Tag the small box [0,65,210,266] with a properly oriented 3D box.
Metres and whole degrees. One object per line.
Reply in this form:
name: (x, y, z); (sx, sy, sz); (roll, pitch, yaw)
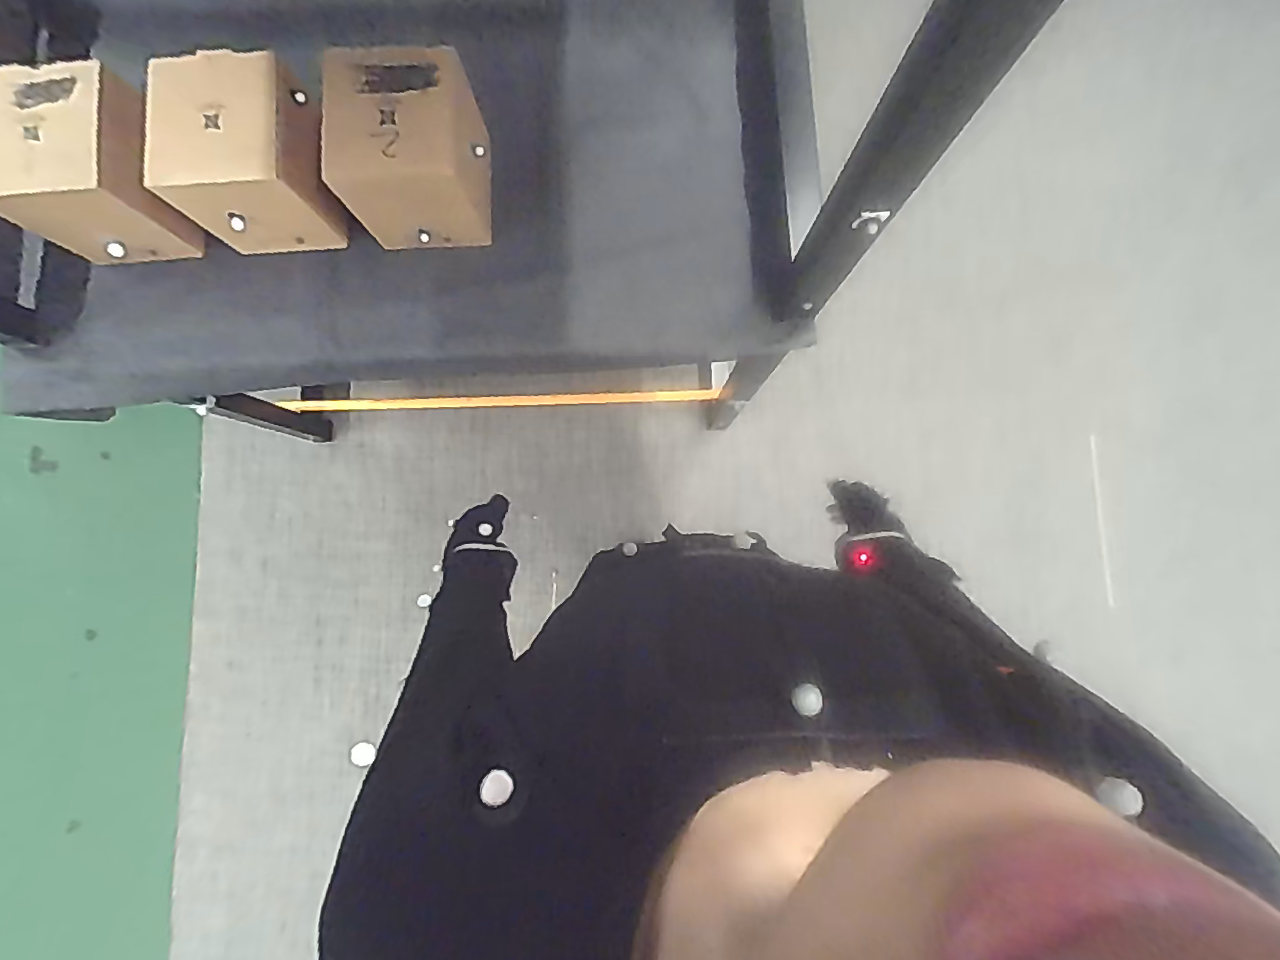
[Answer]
small box: (-0.744, -0.426, 0.754); (0.168, 0.176, 0.179); (-4, 84, 0)
